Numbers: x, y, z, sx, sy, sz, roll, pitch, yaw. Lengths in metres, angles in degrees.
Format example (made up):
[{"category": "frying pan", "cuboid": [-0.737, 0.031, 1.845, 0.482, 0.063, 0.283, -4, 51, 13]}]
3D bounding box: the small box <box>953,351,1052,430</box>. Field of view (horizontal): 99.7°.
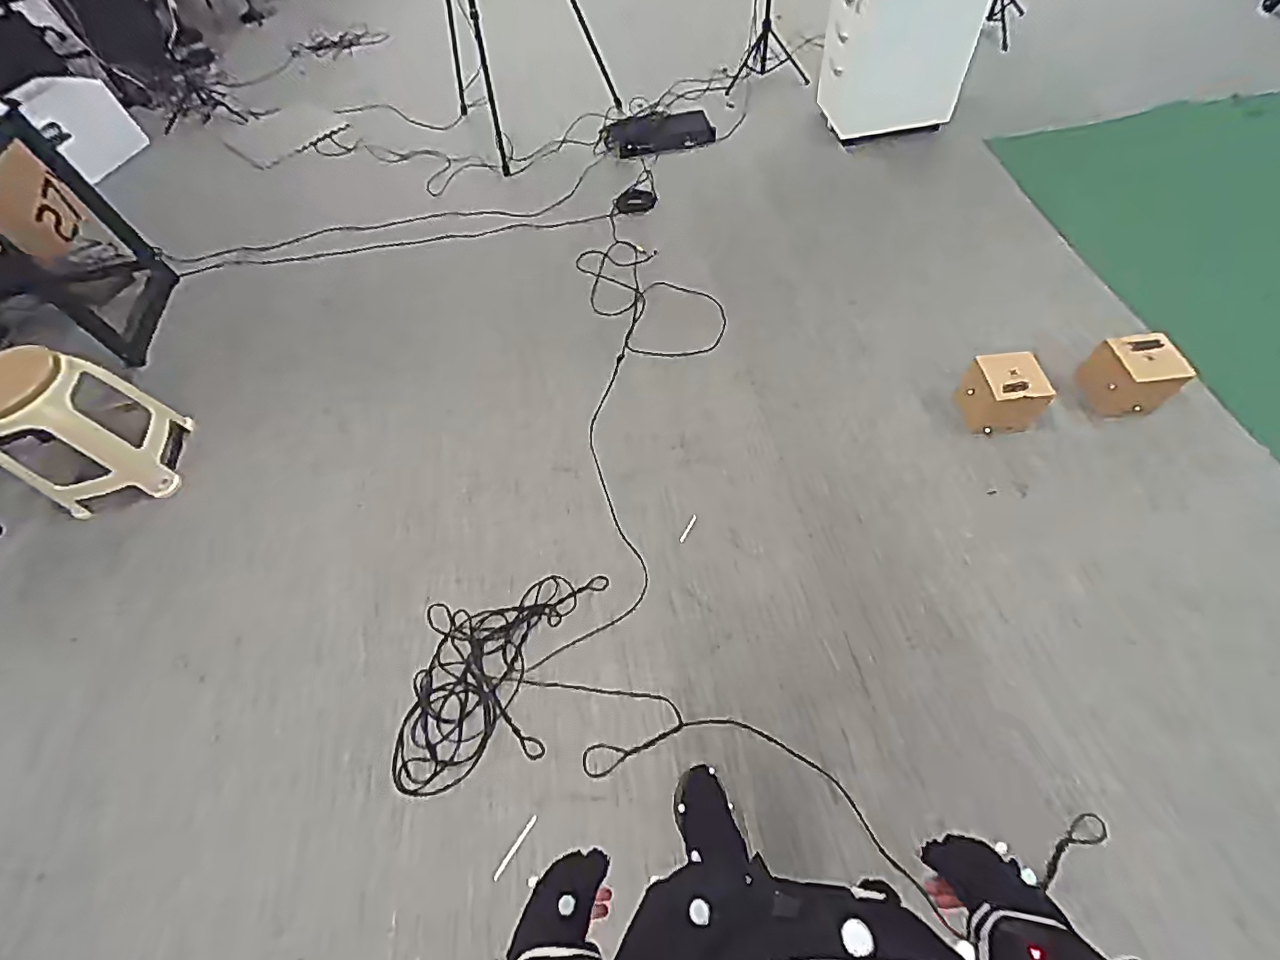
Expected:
[{"category": "small box", "cuboid": [1.085, -0.262, 1.634, 0.168, 0.176, 0.179, -4, 57, 3]}]
